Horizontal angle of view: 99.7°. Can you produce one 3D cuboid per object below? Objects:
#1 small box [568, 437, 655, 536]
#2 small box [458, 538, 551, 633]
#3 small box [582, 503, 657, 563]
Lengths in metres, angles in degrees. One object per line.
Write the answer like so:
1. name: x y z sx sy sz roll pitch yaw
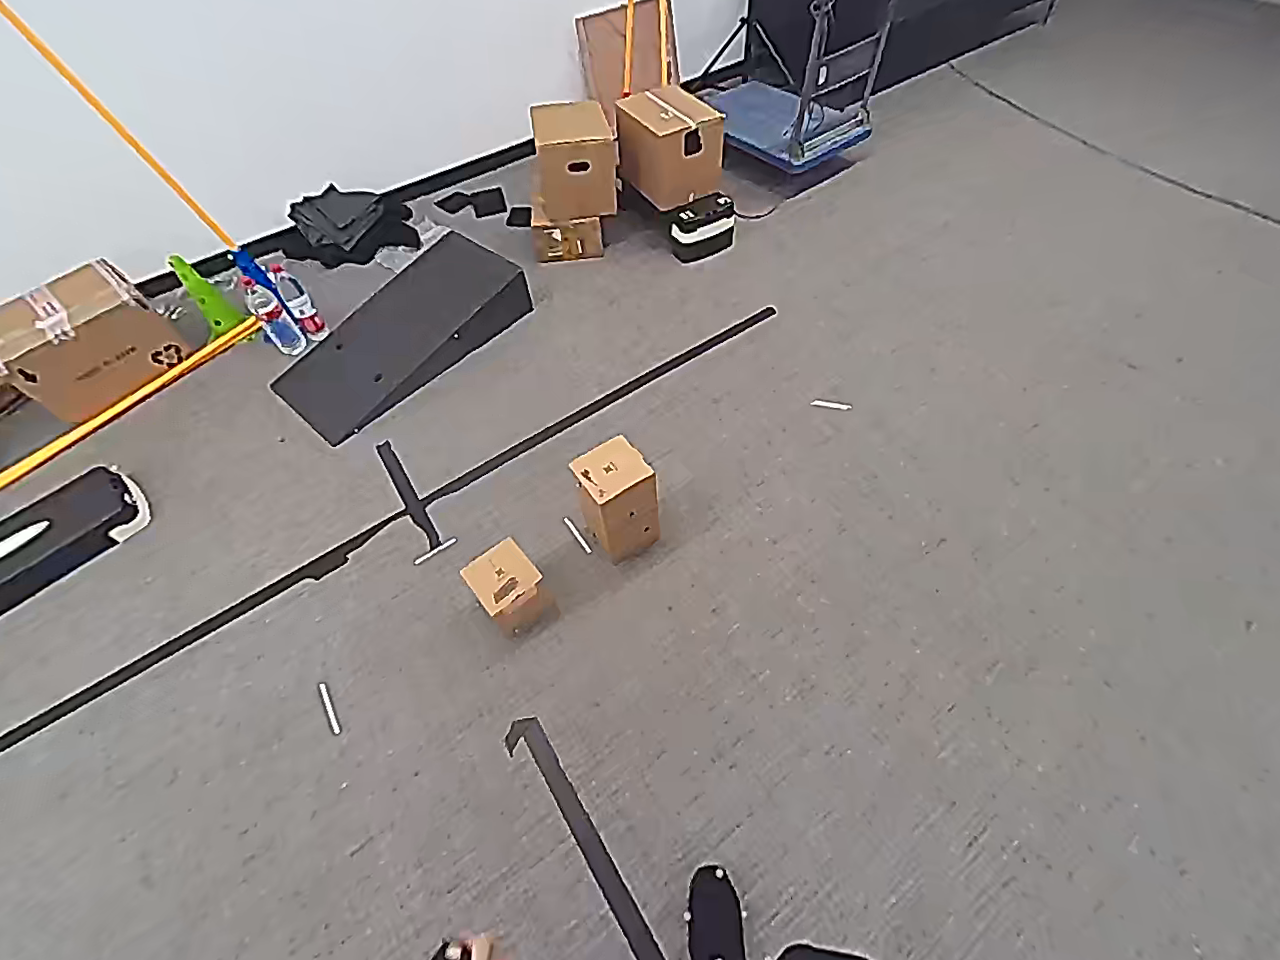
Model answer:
1. small box: -0.074 0.019 1.480 0.179 0.176 0.168 -30 57 -17
2. small box: -0.368 0.301 1.499 0.168 0.176 0.179 -36 59 -20
3. small box: -0.063 0.115 1.613 0.179 0.176 0.168 -29 58 -15
